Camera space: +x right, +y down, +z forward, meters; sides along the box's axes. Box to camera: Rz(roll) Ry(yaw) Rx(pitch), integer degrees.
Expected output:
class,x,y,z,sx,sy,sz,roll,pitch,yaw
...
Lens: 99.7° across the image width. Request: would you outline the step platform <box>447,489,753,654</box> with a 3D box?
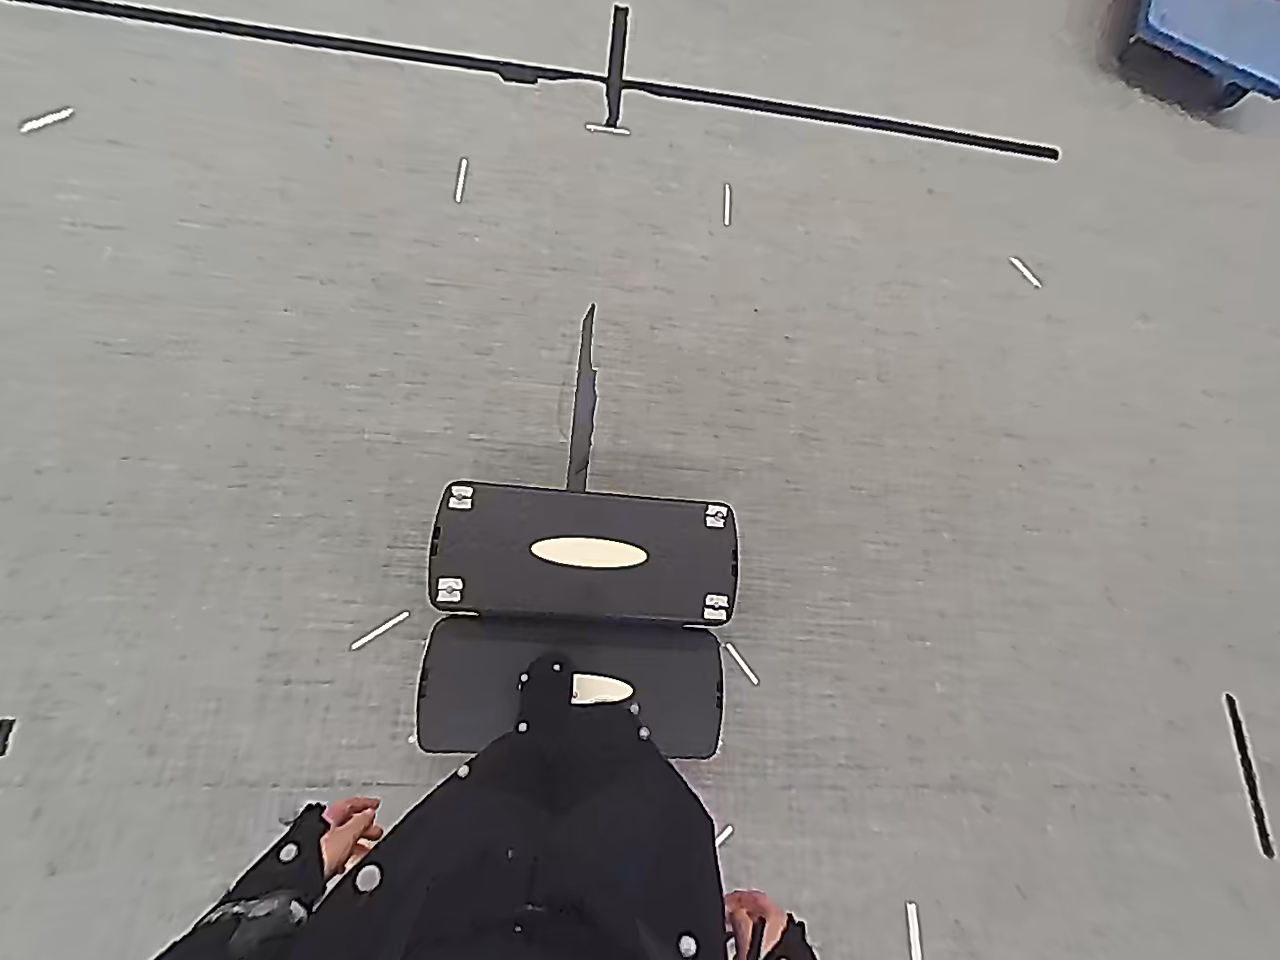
class,x,y,z,sx,sy,sz,roll,pitch,yaw
step platform,-0.085,0.216,1.255,0.684,0.204,0.286,9,73,-6
